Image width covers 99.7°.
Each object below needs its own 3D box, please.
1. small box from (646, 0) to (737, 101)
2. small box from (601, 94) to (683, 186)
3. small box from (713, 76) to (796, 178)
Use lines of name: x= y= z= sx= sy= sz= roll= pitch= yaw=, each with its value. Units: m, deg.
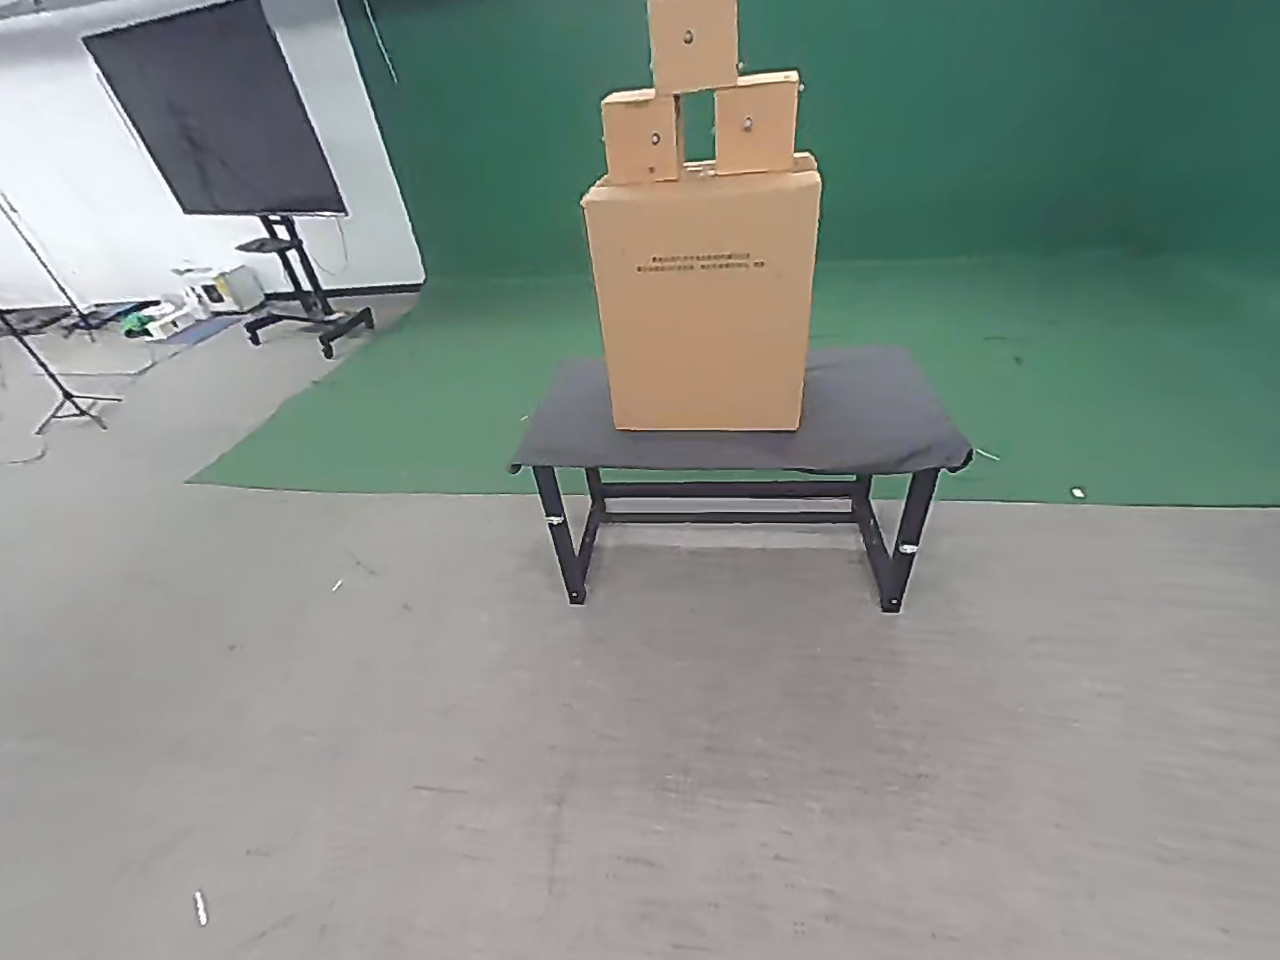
small box: x=0.119 y=-0.938 z=1.167 sx=0.179 sy=0.176 sz=0.168 roll=-1 pitch=41 yaw=12
small box: x=0.014 y=-0.814 z=1.298 sx=0.168 sy=0.176 sz=0.179 roll=2 pitch=40 yaw=10
small box: x=0.266 y=-0.811 z=1.248 sx=0.179 sy=0.176 sz=0.168 roll=1 pitch=42 yaw=13
